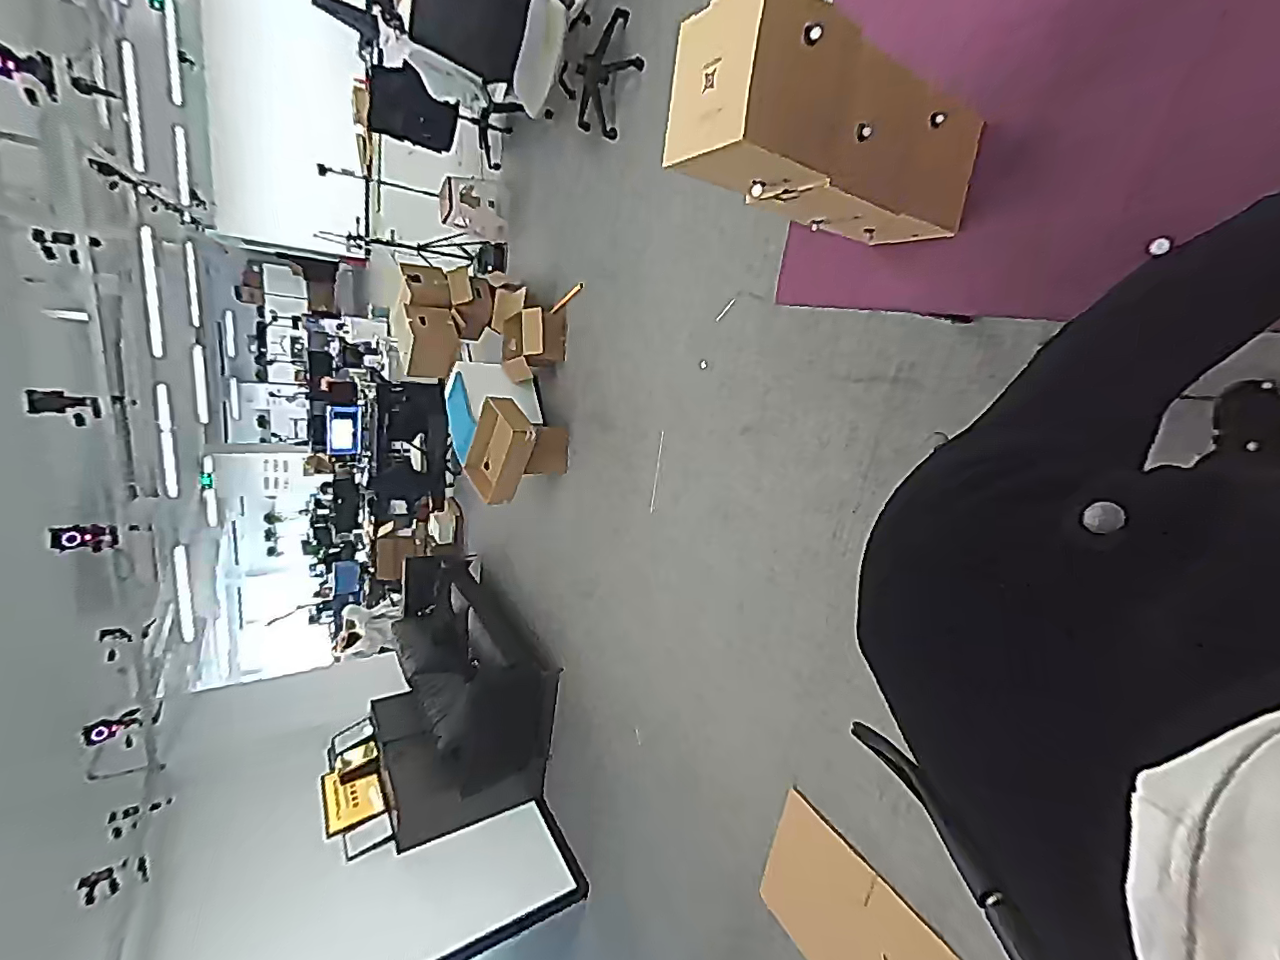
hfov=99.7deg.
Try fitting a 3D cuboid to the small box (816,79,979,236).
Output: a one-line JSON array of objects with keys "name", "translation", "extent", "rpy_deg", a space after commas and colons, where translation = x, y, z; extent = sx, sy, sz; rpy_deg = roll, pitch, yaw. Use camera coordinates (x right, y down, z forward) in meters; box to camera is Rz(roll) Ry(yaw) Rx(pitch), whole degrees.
[{"name": "small box", "translation": [0.424, -0.514, 0.896], "extent": [0.168, 0.176, 0.179], "rpy_deg": [26, 113, 53]}]

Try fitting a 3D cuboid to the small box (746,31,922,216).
[{"name": "small box", "translation": [0.287, -0.506, 0.805], "extent": [0.168, 0.176, 0.179], "rpy_deg": [27, 113, 53]}]

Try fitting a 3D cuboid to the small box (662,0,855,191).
[{"name": "small box", "translation": [0.153, -0.507, 0.711], "extent": [0.168, 0.176, 0.179], "rpy_deg": [28, 115, 53]}]
